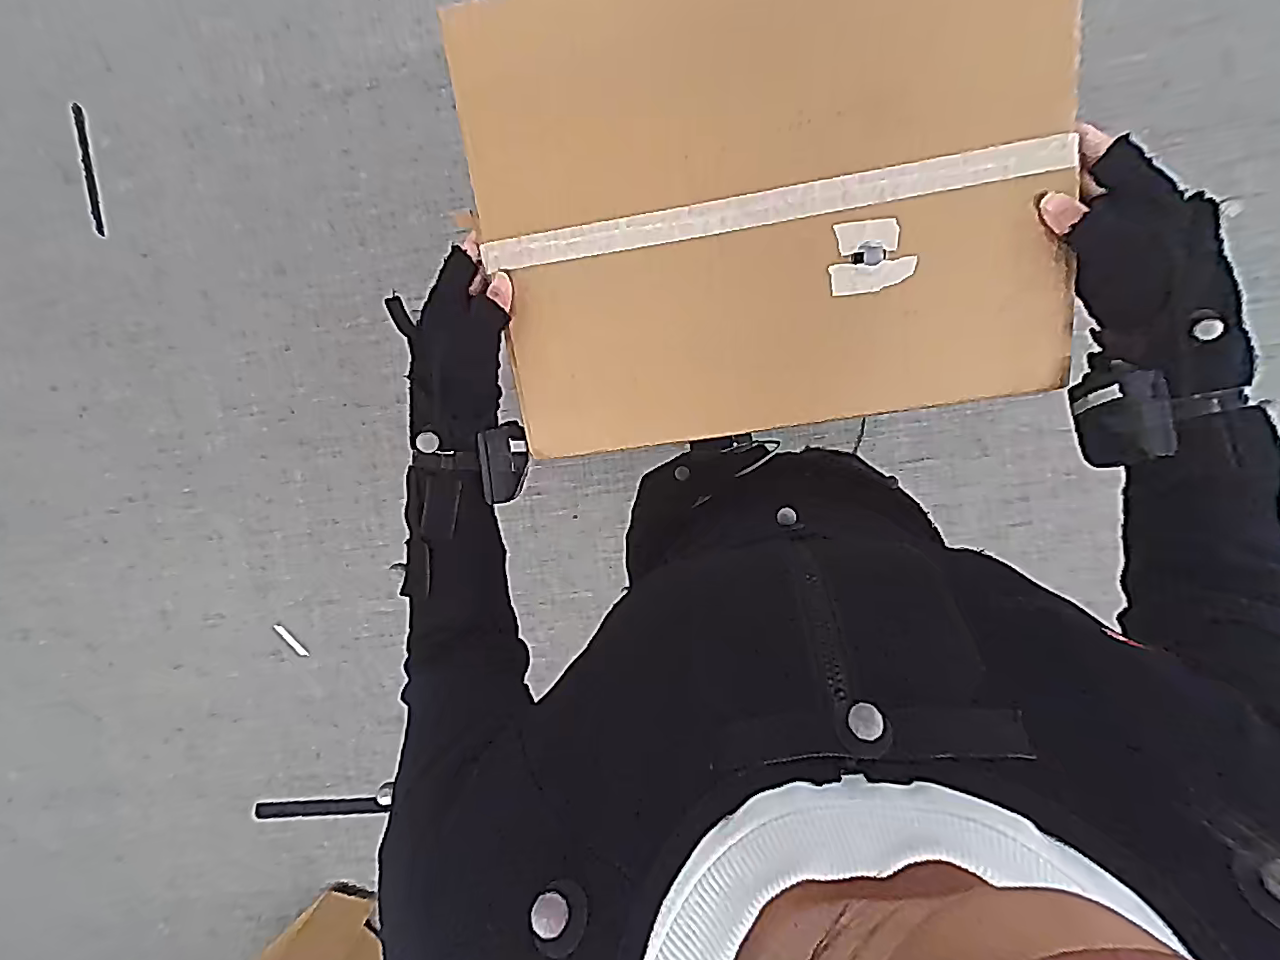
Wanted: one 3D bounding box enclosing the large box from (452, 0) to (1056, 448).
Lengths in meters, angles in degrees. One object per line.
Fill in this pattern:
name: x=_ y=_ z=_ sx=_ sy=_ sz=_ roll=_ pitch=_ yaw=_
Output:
large box: x=0.094 y=-0.238 z=0.534 sx=0.408 sy=0.320 sz=0.320 roll=-8 pitch=105 yaw=5
